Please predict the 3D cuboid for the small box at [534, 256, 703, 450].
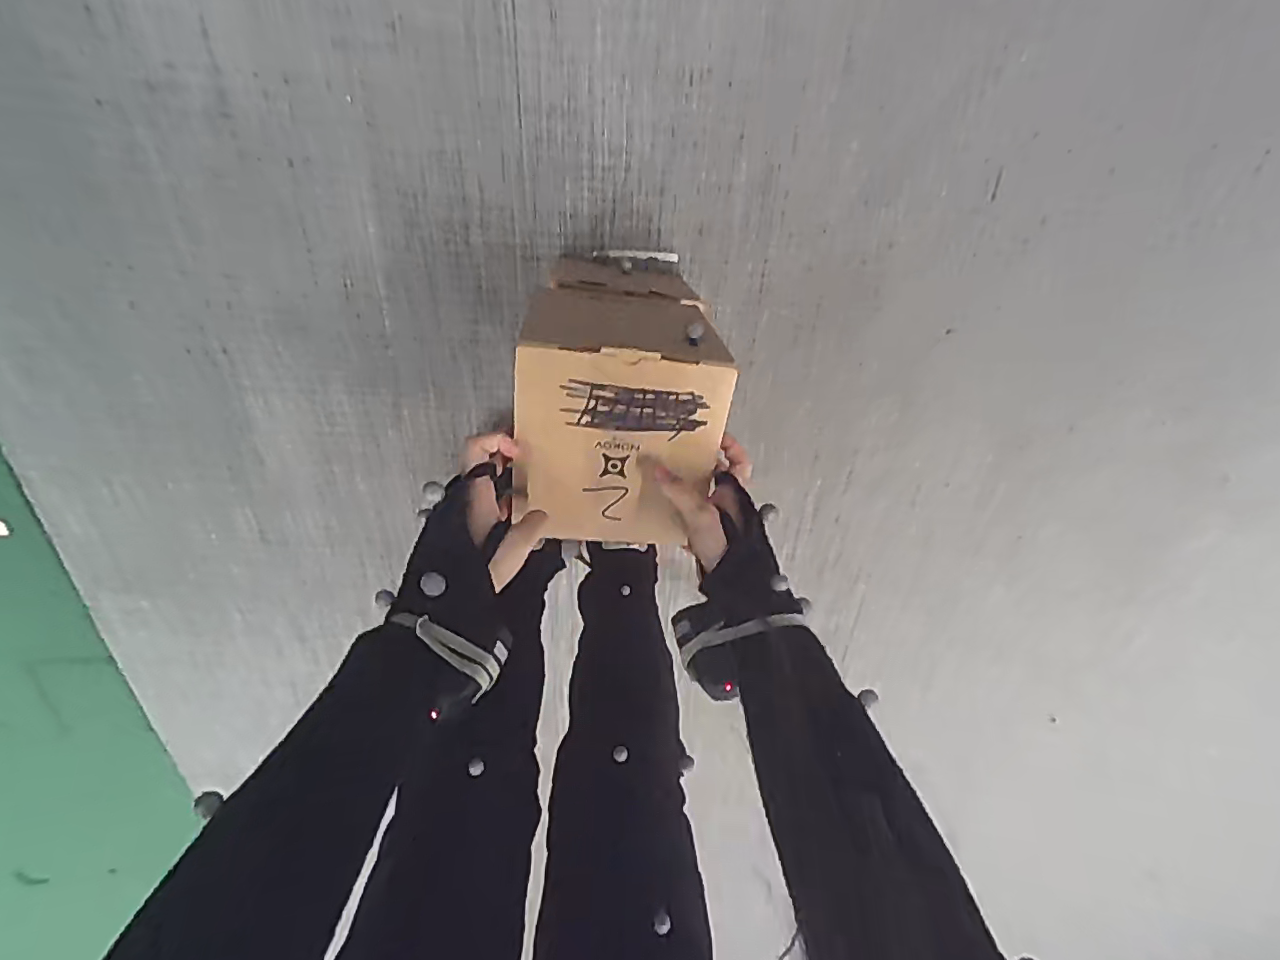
[{"bbox_3d":[-0.032,-0.160,0.664,0.168,0.176,0.179,7,119,-8],"label":"small box"}]
